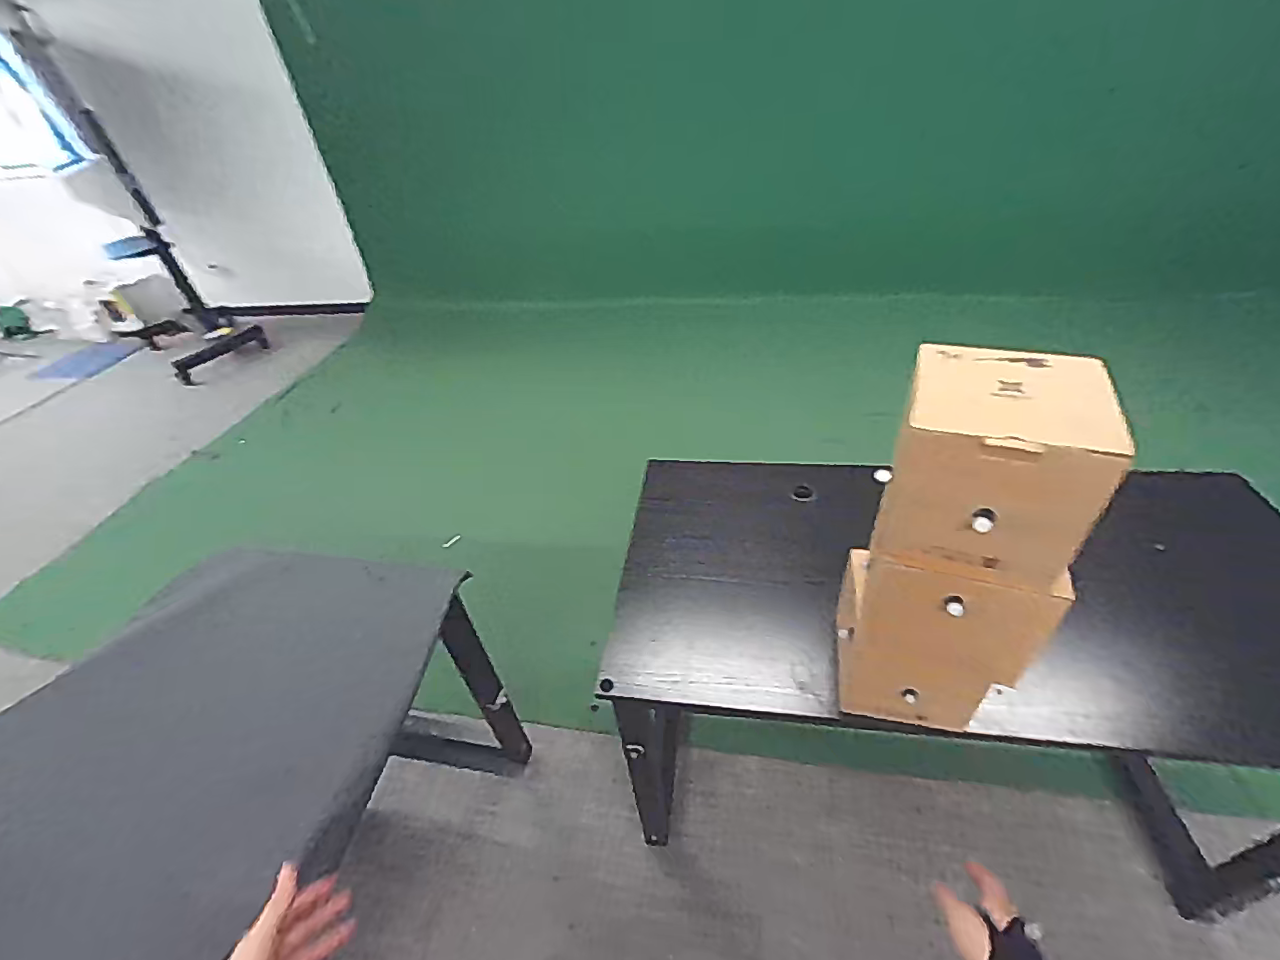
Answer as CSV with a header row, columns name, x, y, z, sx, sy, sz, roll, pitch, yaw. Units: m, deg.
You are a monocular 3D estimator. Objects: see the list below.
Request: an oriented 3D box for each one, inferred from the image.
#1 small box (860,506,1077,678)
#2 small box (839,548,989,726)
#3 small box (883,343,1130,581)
name,x,y,z,sx,sy,sz,roll,pitch,yaw
small box,0.380,0.113,0.656,0.179,0.176,0.168,10,42,20
small box,0.385,0.224,0.777,0.168,0.176,0.179,5,41,13
small box,0.361,-0.022,0.565,0.168,0.176,0.179,11,44,22
